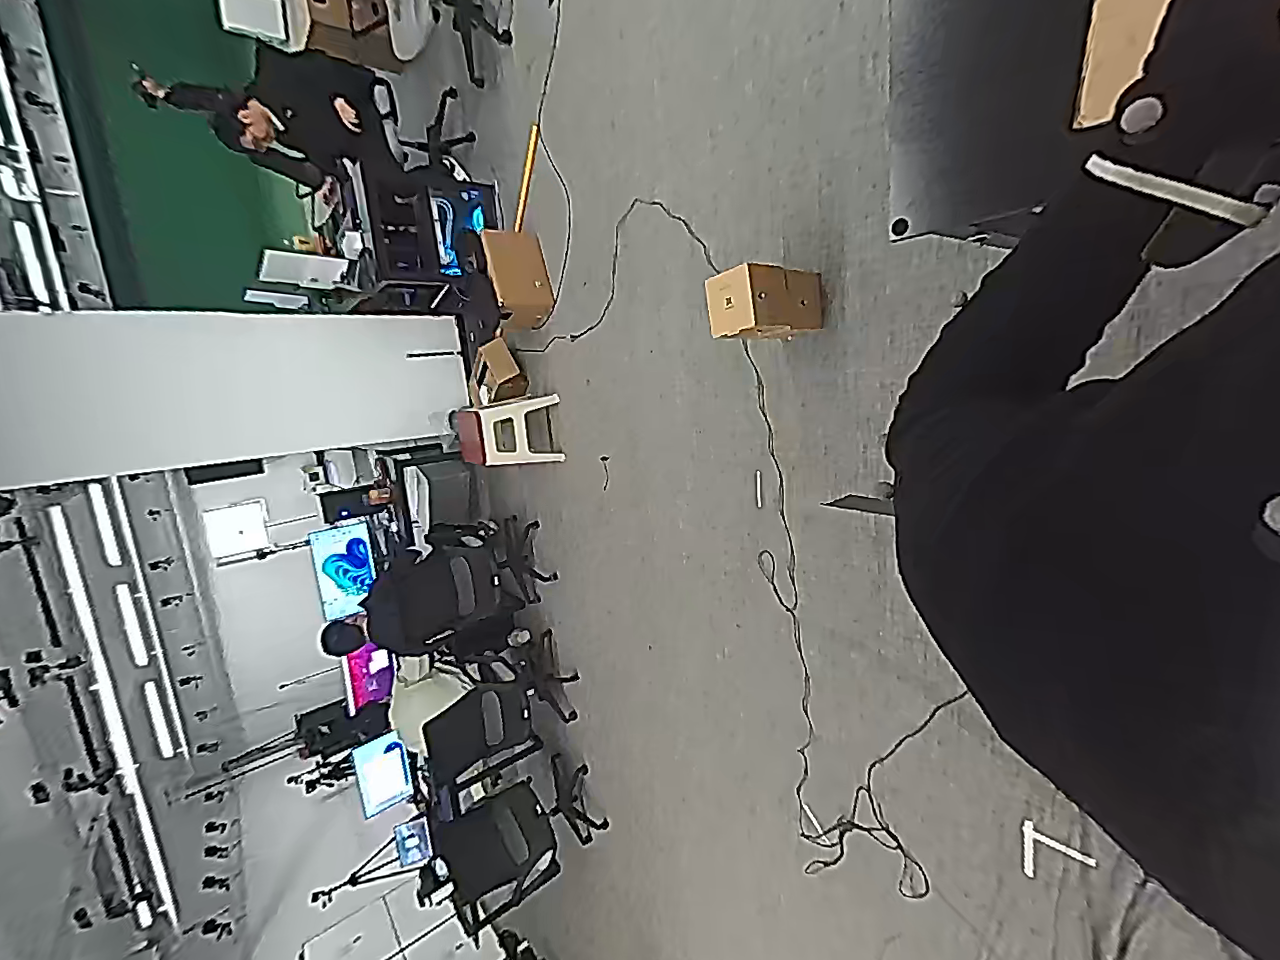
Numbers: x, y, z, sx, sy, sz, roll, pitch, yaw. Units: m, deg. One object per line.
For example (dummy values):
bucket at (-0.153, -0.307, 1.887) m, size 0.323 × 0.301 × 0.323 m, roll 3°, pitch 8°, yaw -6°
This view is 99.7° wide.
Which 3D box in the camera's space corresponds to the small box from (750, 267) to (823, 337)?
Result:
small box at (0.452, -0.548, 1.685) m, size 0.168 × 0.176 × 0.179 m, roll 3°, pitch 103°, yaw 52°

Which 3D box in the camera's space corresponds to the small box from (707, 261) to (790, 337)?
small box at (0.323, -0.525, 1.587) m, size 0.168 × 0.176 × 0.179 m, roll -1°, pitch 99°, yaw 52°
